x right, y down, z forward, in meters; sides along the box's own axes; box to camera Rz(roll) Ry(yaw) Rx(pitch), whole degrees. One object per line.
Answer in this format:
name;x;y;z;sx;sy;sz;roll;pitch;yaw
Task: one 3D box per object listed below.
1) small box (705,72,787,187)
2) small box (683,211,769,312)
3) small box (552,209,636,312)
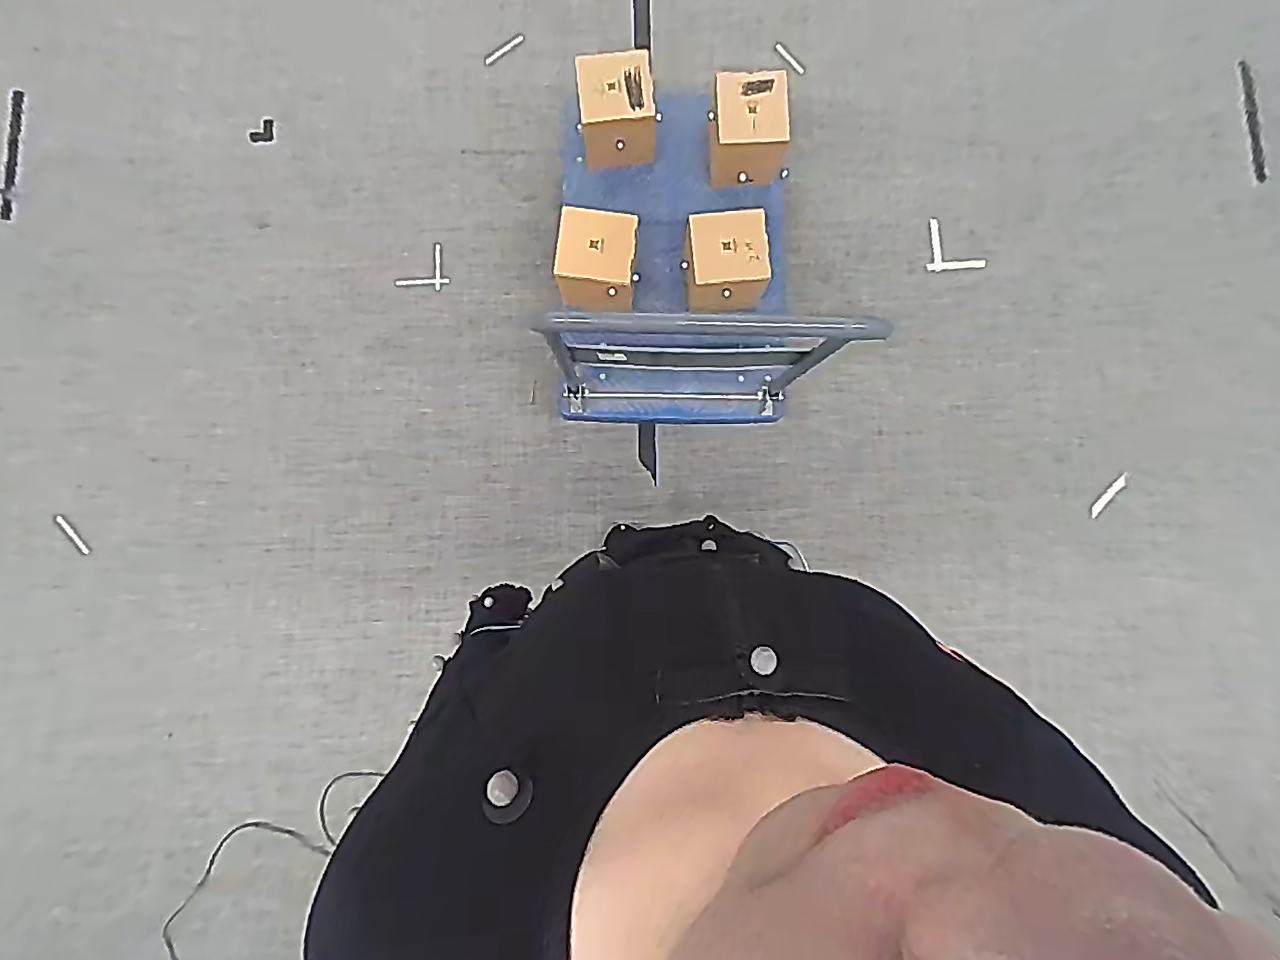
small box;0.254;-0.852;1.325;0.168;0.176;0.179;-2;87;0
small box;0.198;-0.517;1.301;0.179;0.176;0.168;-5;86;-1
small box;-0.106;-0.519;1.299;0.179;0.176;0.168;7;85;-1
